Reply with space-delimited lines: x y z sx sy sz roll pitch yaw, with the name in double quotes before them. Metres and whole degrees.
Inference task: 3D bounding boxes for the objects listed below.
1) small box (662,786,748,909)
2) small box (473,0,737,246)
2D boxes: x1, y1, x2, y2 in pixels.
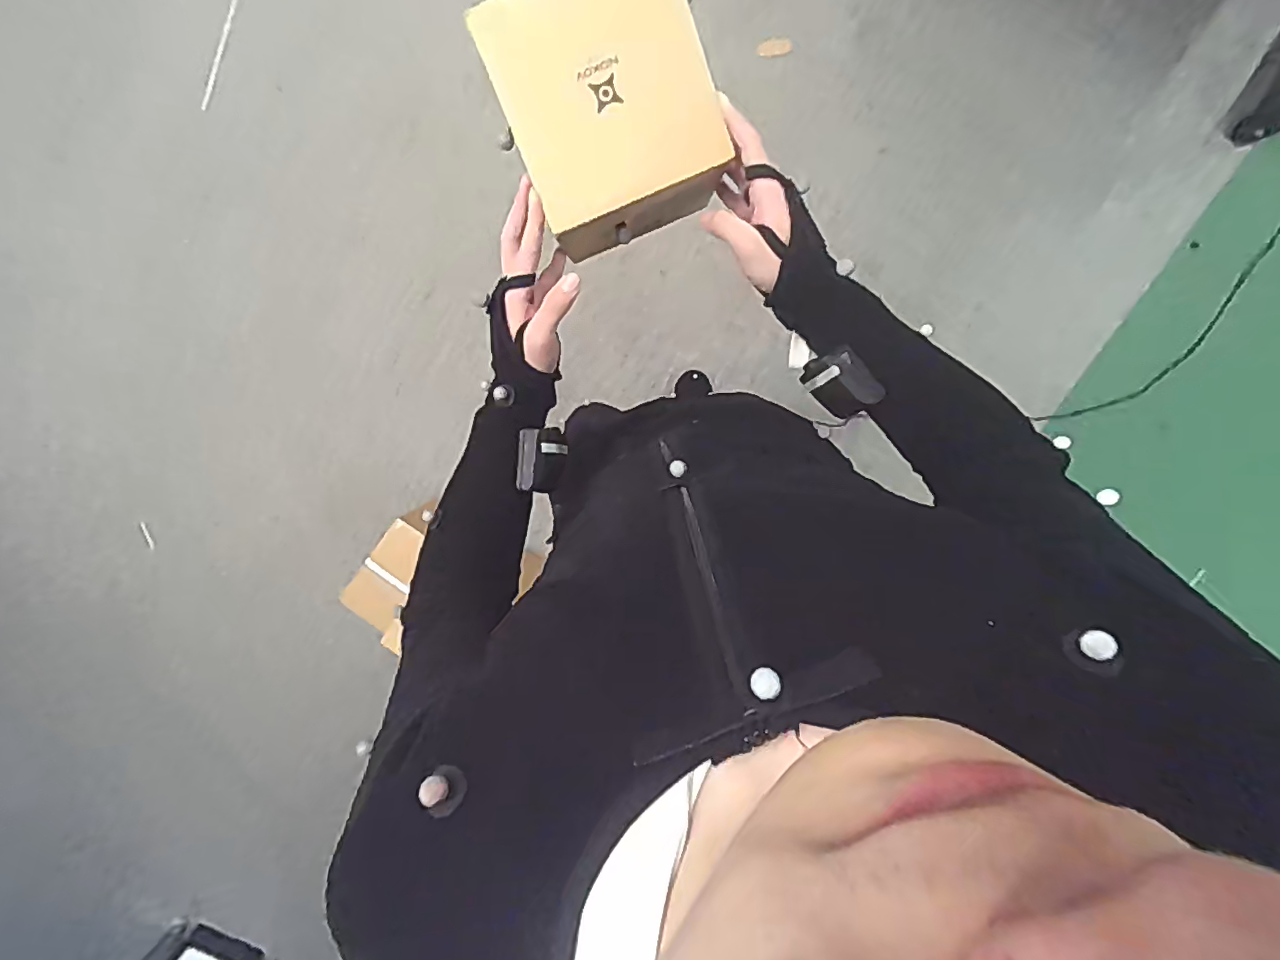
"small box" 0.145 0.846 1.256 0.179 0.176 0.168 4 103 3
"small box" -0.024 -0.336 0.504 0.168 0.176 0.179 -21 103 4
